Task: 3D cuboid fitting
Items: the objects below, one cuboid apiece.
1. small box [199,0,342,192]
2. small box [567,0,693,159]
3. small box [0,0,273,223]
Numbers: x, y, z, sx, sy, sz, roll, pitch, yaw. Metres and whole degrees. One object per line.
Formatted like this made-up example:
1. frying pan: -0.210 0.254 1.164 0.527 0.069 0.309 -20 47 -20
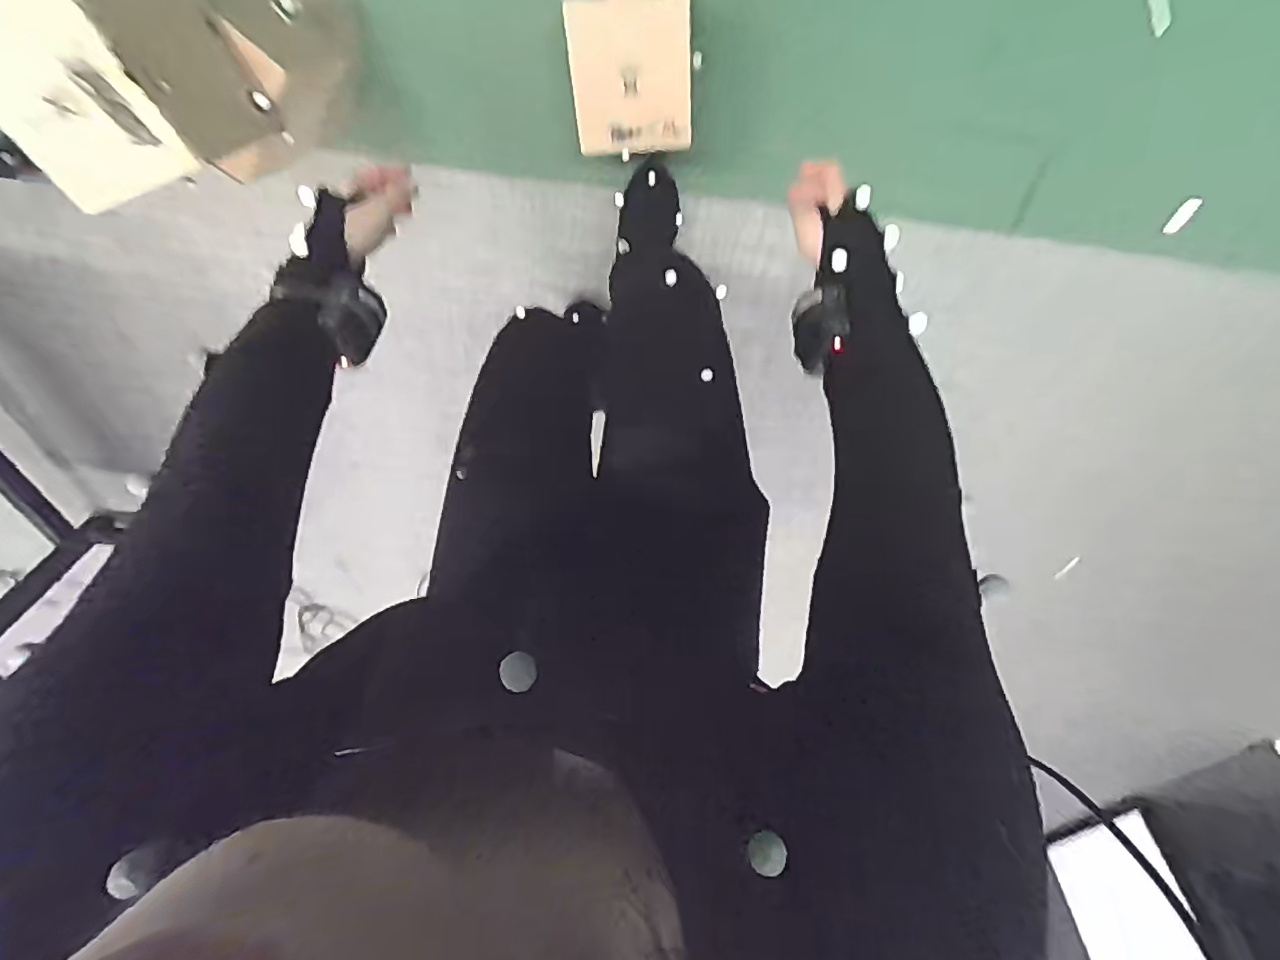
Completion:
1. small box: -0.522 -0.521 0.698 0.168 0.176 0.179 35 125 -27
2. small box: -0.008 -0.598 0.804 0.168 0.176 0.179 -1 132 5
3. small box: -0.540 -0.409 0.578 0.179 0.176 0.168 -10 133 15
